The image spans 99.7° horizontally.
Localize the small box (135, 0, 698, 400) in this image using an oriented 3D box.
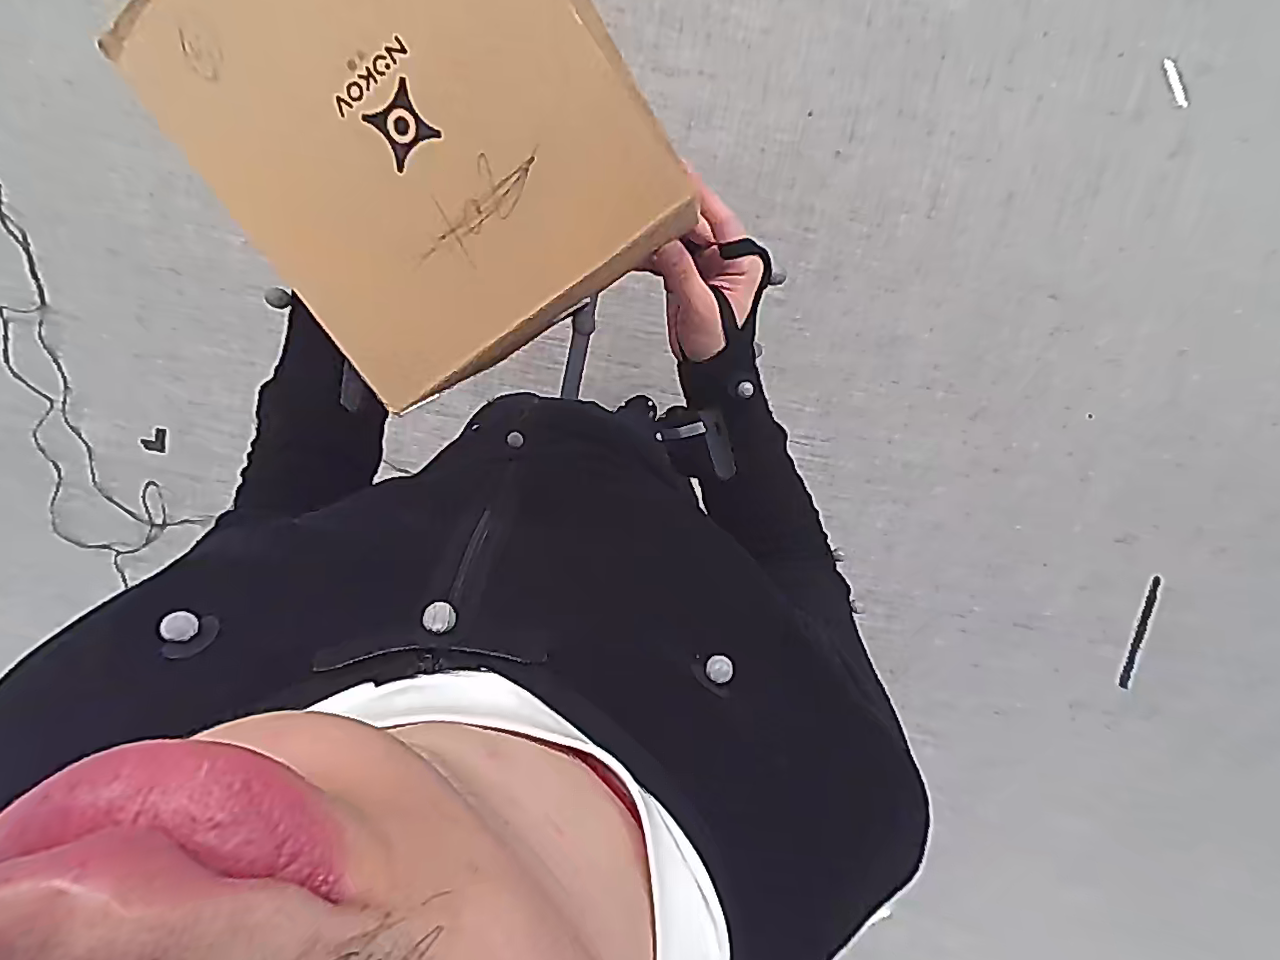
[{"bbox_3d":[-0.083,-0.173,0.291,0.168,0.176,0.179,-31,106,18],"label":"small box"}]
